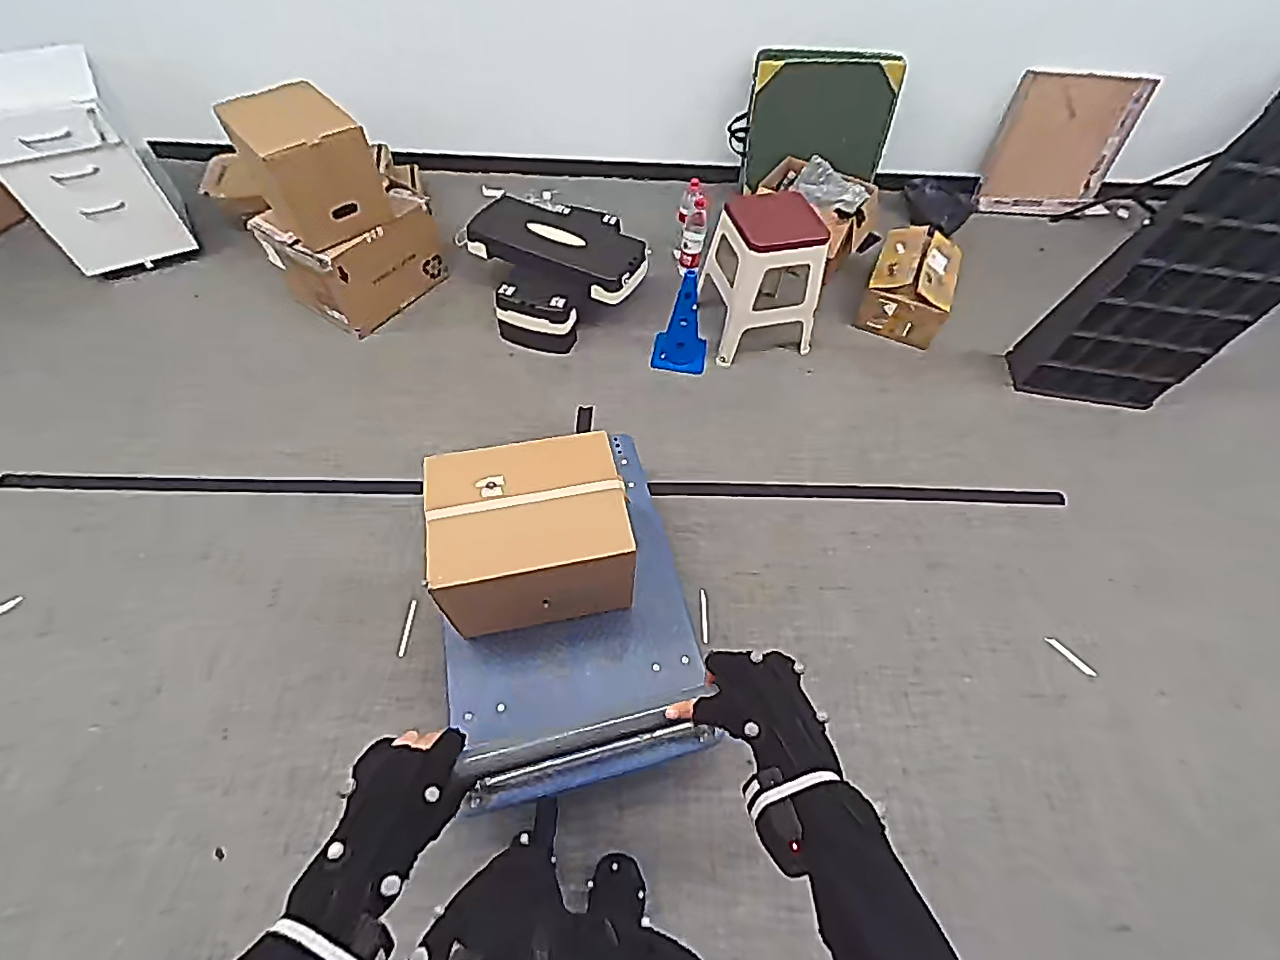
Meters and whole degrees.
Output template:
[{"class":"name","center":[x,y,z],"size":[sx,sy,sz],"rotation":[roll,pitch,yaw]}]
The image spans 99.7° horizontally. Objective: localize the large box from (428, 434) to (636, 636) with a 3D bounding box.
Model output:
[{"class":"large box","center":[-0.239,0.133,1.256],"size":[0.408,0.320,0.320],"rotation":[-10,57,-9]}]
